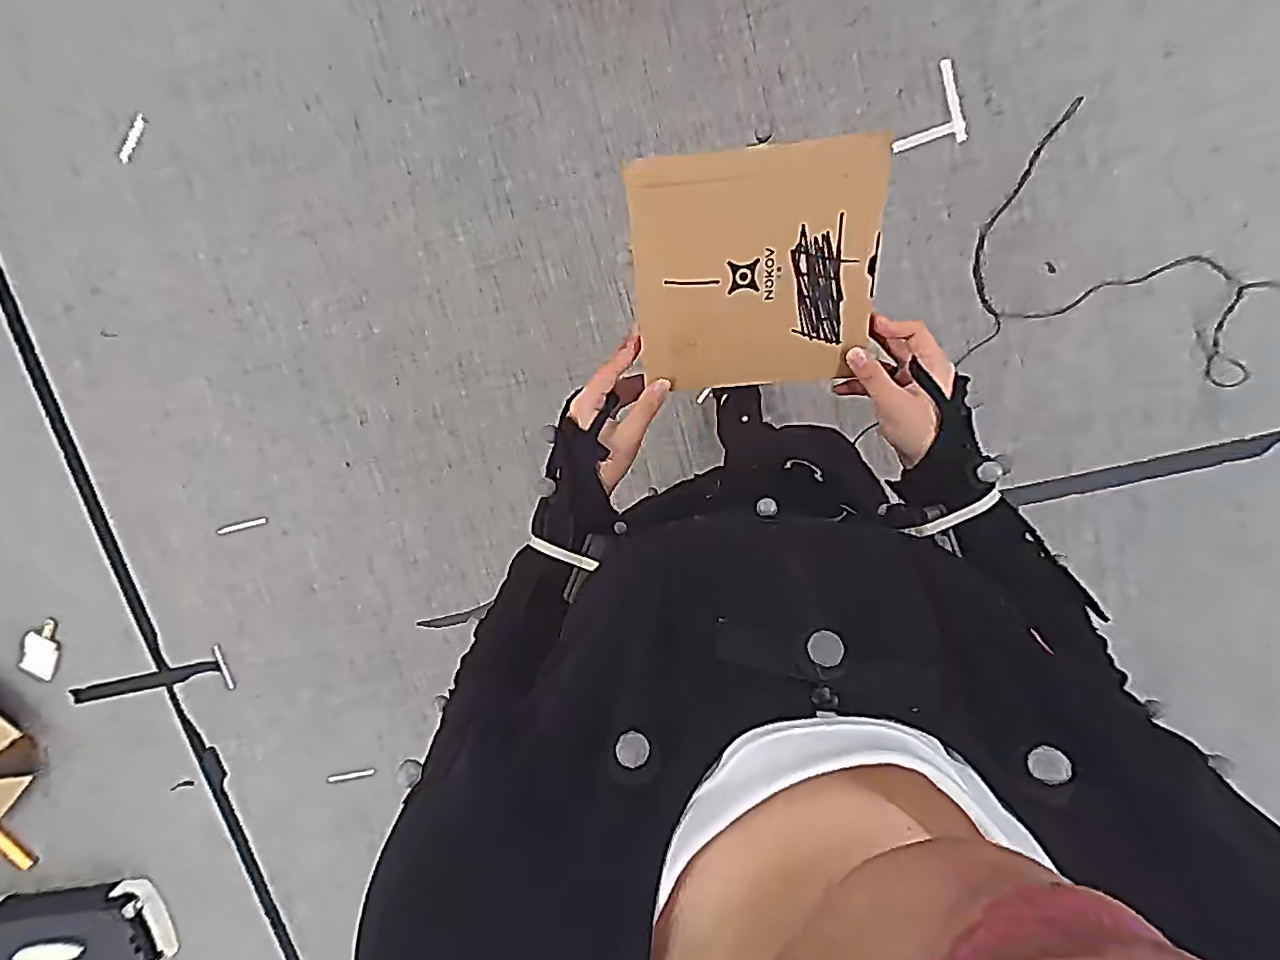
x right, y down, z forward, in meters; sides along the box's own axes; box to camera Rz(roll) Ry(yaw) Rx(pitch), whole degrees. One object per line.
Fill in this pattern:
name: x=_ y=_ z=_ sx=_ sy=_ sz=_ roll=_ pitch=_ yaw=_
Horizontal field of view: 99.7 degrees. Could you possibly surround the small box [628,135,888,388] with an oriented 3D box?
small box: x=0.084 y=-0.191 z=0.466 sx=0.179 sy=0.176 sz=0.168 roll=-4 pitch=119 yaw=4
